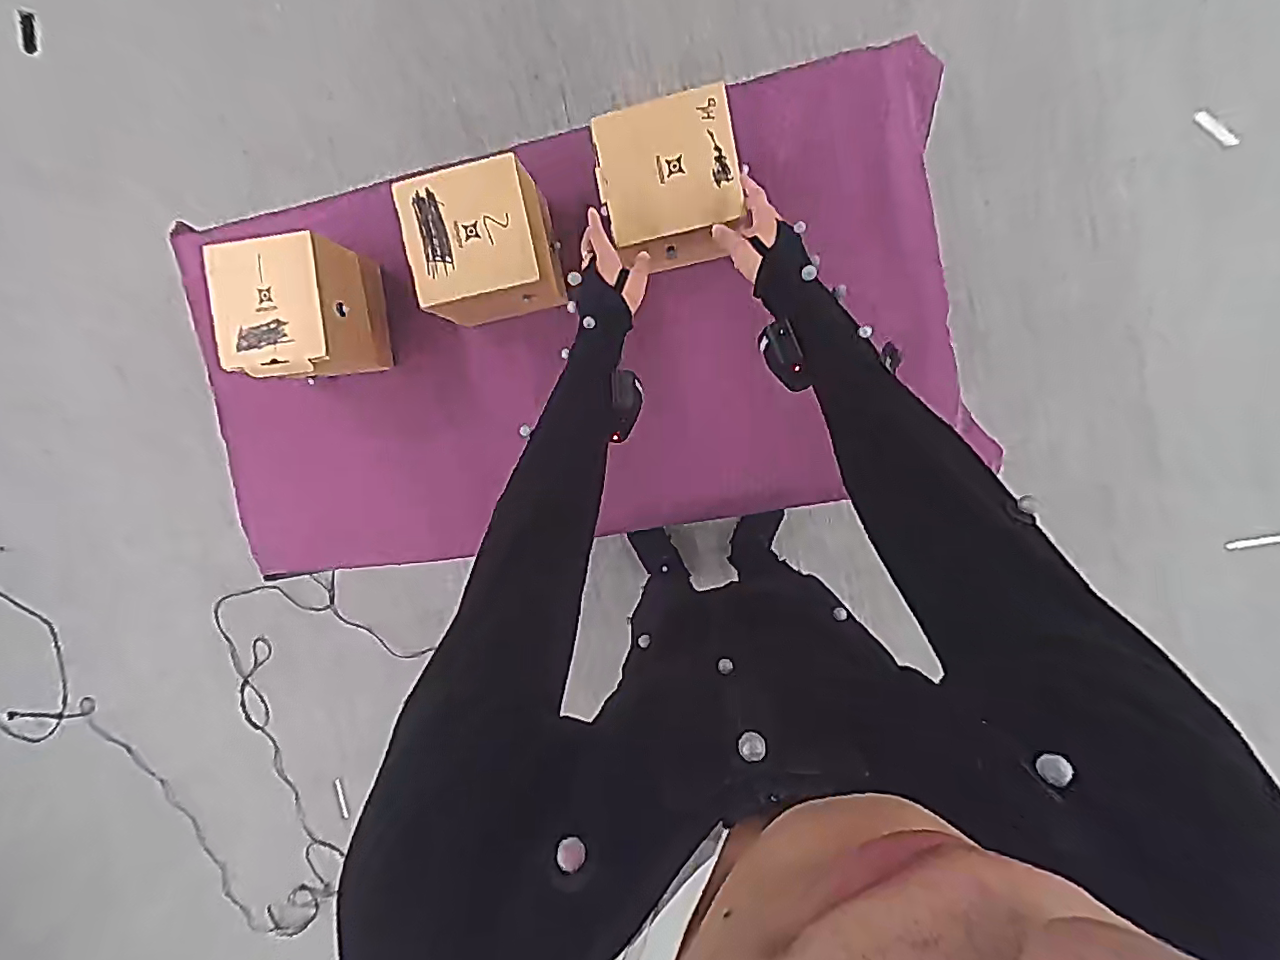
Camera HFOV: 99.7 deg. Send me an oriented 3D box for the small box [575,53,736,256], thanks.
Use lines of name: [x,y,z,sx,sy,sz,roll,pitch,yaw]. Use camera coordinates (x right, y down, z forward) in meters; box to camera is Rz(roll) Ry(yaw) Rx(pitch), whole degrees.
small box: [0.029,-0.426,0.744,0.179,0.176,0.168,-12,98,8]

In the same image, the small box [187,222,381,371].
small box: [-0.522,-0.263,0.821,0.168,0.176,0.179,-7,96,6]
